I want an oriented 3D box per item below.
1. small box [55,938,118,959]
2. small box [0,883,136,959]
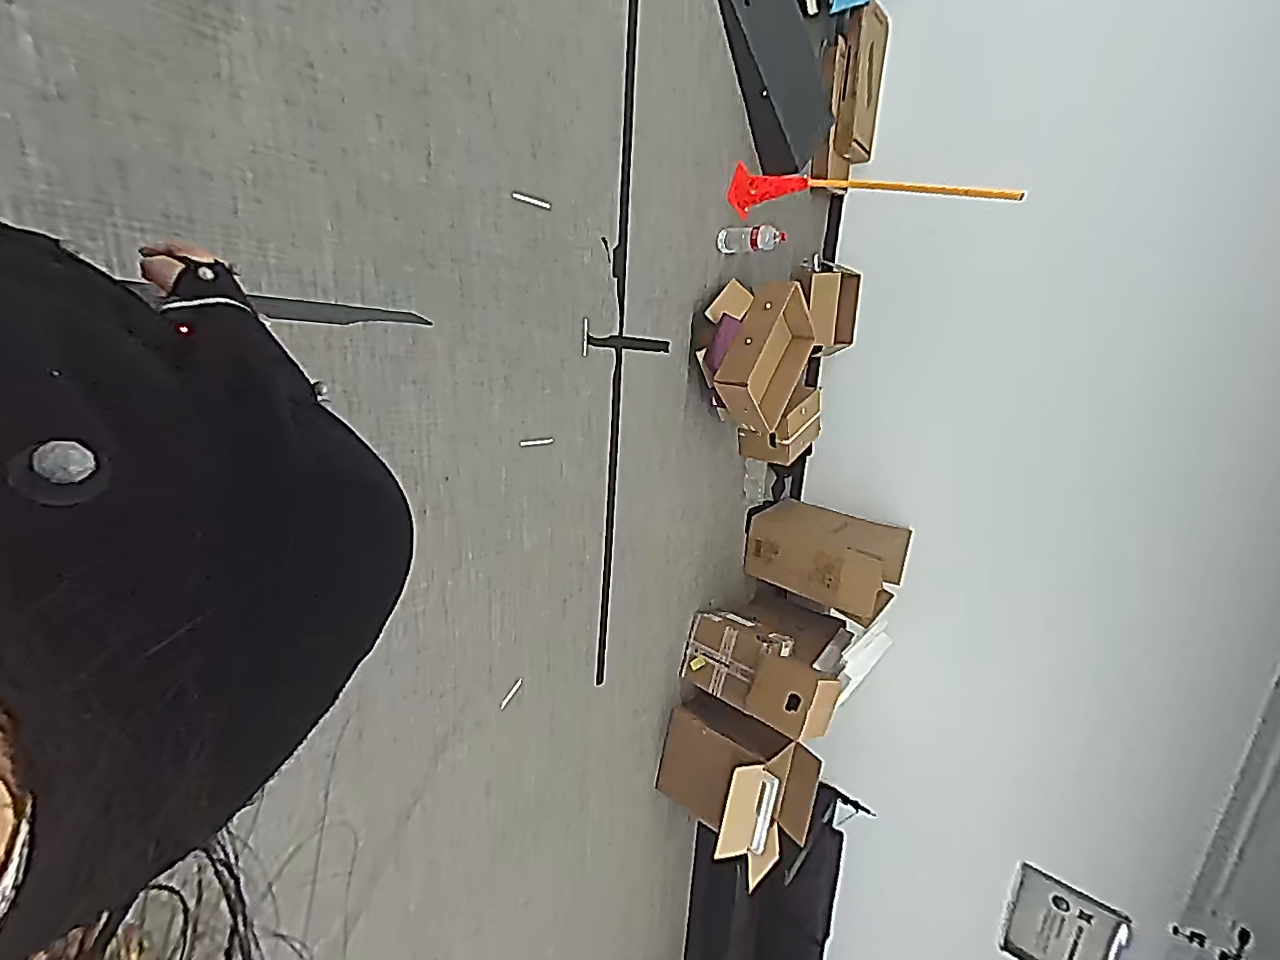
[{"bbox_3d":[-1.100,1.049,1.041,0.168,0.176,0.179,-31,125,-45],"label":"small box"},{"bbox_3d":[-1.223,1.009,1.143,0.168,0.176,0.179,-31,124,-43],"label":"small box"}]
